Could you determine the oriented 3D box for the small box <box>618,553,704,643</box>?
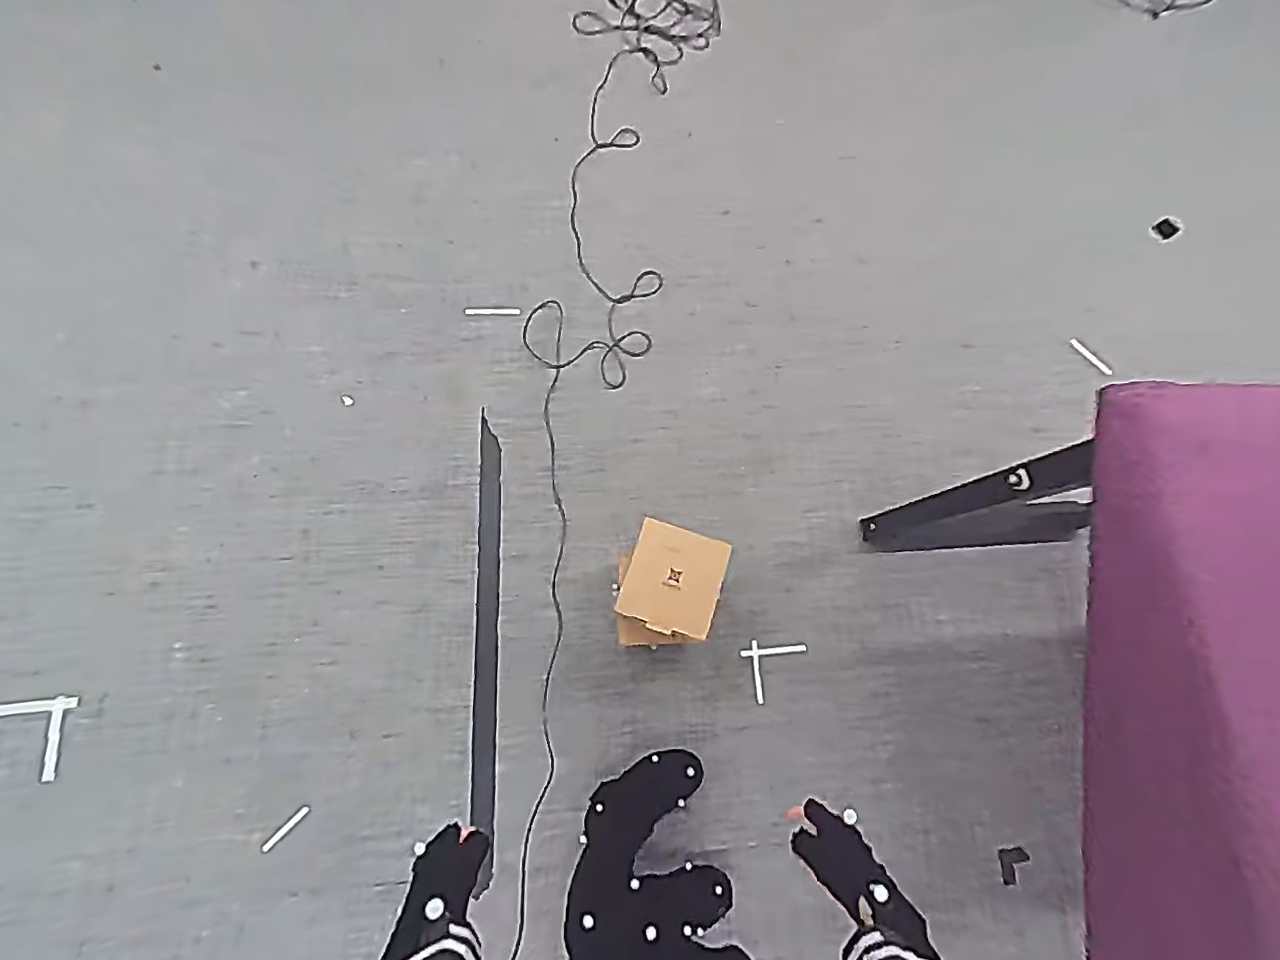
[{"bbox_3d":[0.038,0.252,1.153,0.168,0.176,0.179,-1,77,-4],"label":"small box"}]

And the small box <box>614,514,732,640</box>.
[{"bbox_3d":[0.054,0.184,1.004,0.168,0.176,0.179,18,75,0],"label":"small box"}]
